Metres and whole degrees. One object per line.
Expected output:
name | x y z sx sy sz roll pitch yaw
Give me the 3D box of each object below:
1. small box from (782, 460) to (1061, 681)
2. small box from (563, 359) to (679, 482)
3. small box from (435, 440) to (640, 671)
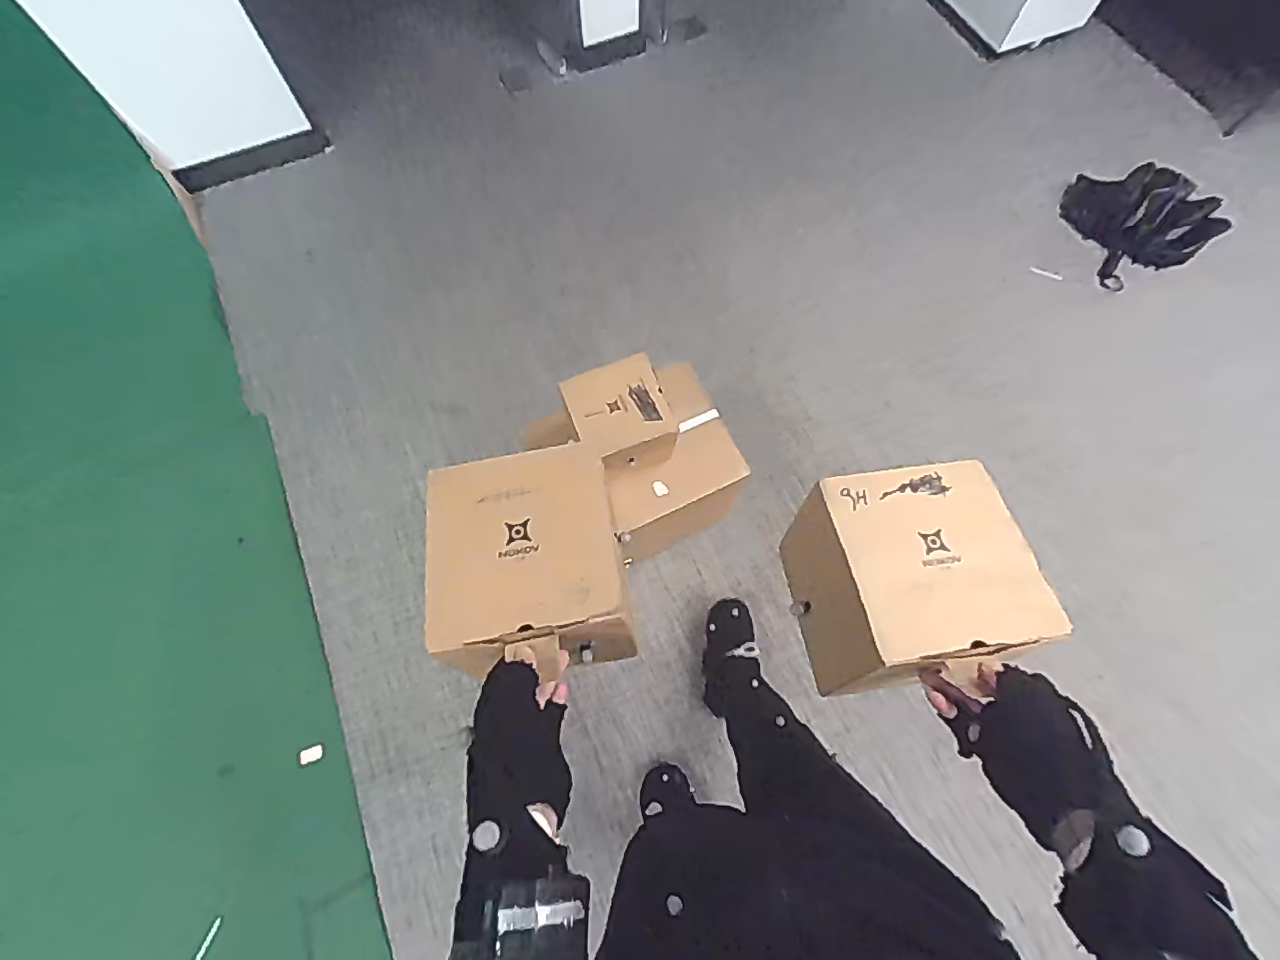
small box | 0.262 0.102 0.557 0.168 0.176 0.179 -6 61 -5
small box | -0.040 -0.105 1.050 0.179 0.176 0.168 -18 74 -8
small box | -0.097 0.088 0.556 0.168 0.176 0.179 -11 59 -3
